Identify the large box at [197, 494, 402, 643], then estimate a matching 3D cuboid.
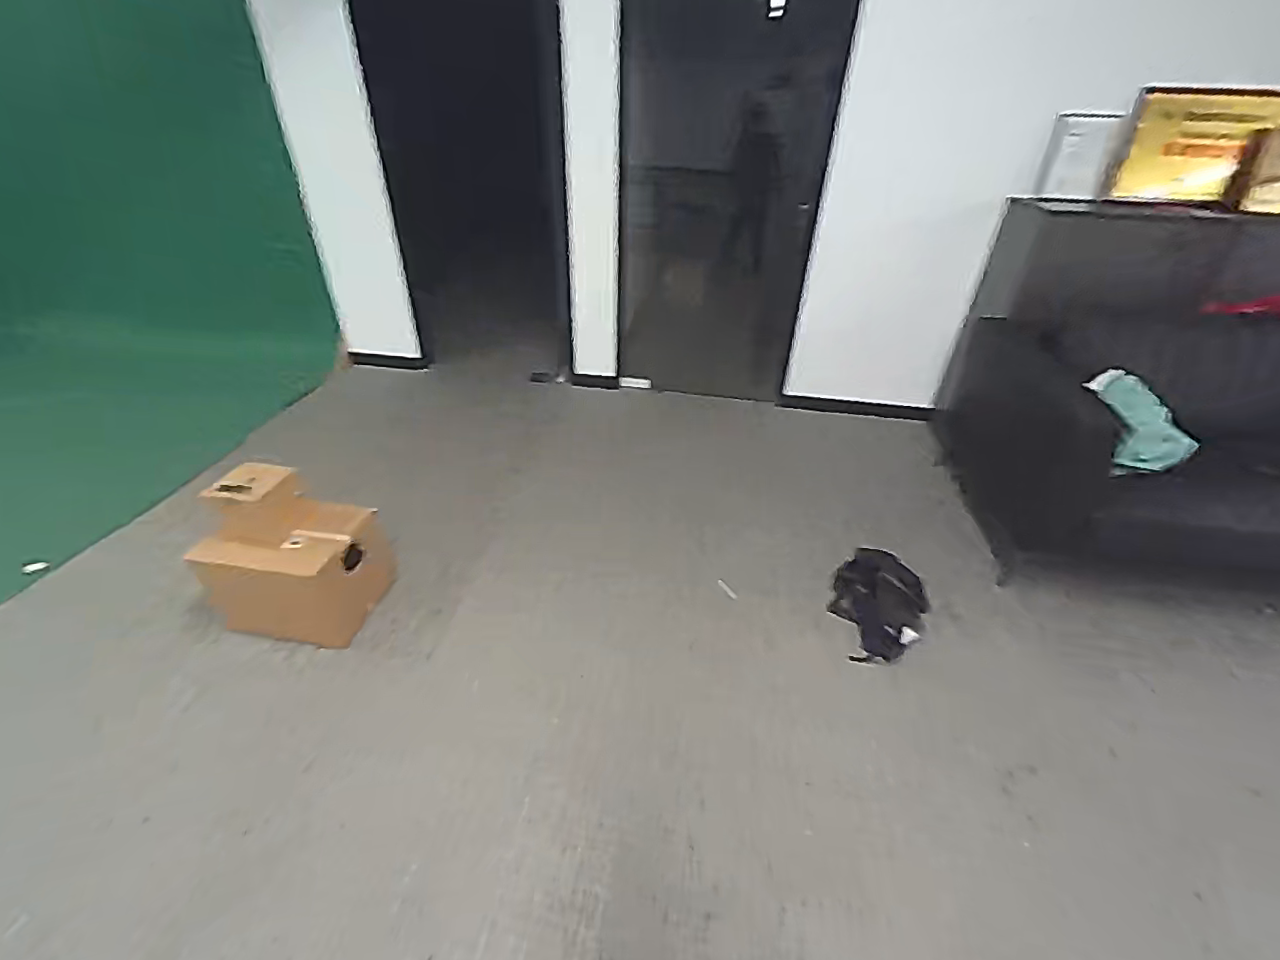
[{"bbox_3d":[-1.040,0.275,1.706,0.408,0.320,0.320,8,36,6],"label":"large box"}]
